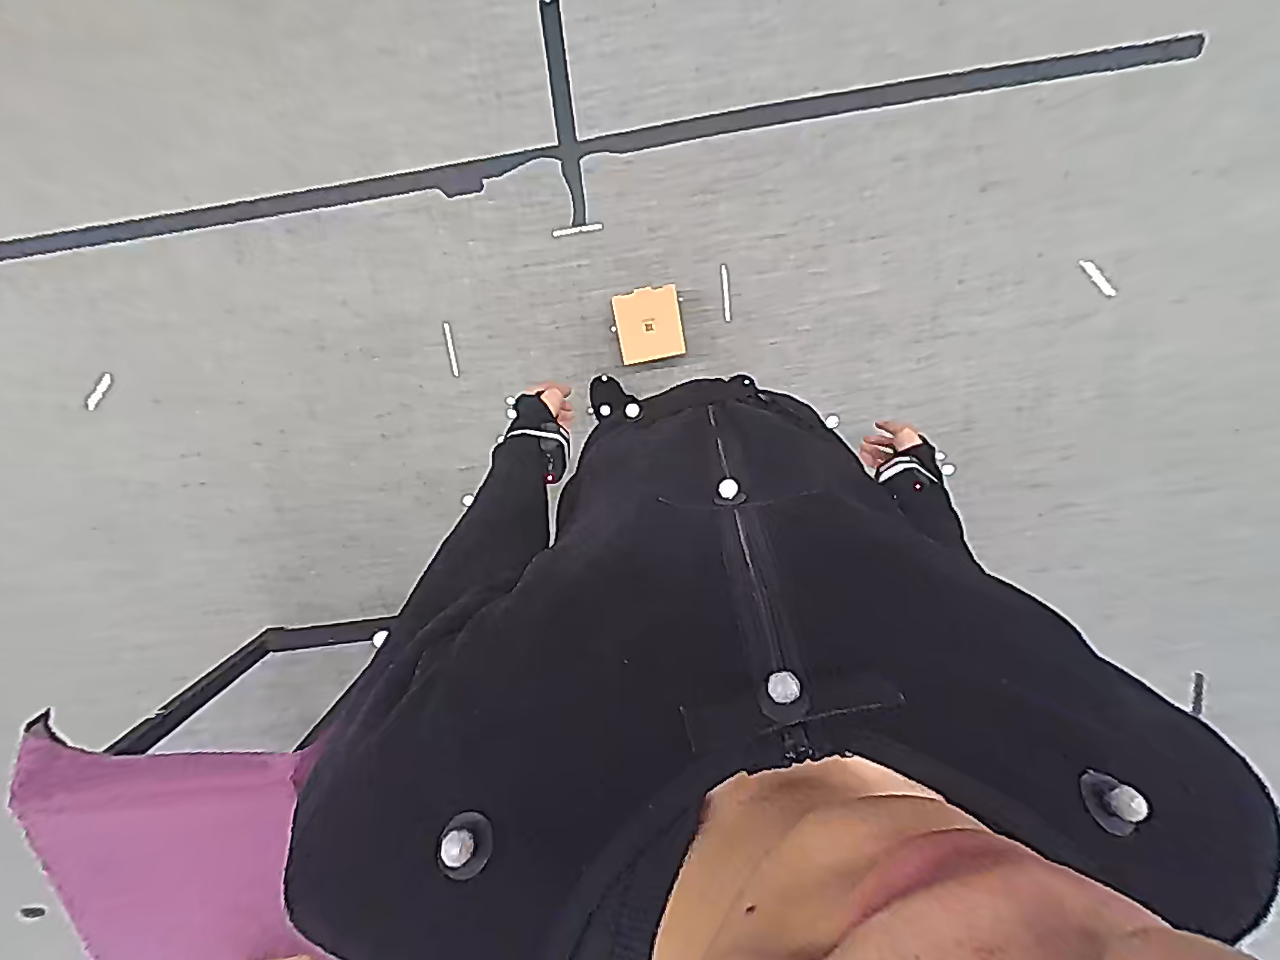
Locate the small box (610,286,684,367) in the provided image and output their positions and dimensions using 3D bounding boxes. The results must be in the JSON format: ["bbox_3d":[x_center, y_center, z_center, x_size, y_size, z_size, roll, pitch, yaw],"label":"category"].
[{"bbox_3d":[0.022,-0.411,1.454,0.168,0.176,0.179,-11,104,4],"label":"small box"}]
